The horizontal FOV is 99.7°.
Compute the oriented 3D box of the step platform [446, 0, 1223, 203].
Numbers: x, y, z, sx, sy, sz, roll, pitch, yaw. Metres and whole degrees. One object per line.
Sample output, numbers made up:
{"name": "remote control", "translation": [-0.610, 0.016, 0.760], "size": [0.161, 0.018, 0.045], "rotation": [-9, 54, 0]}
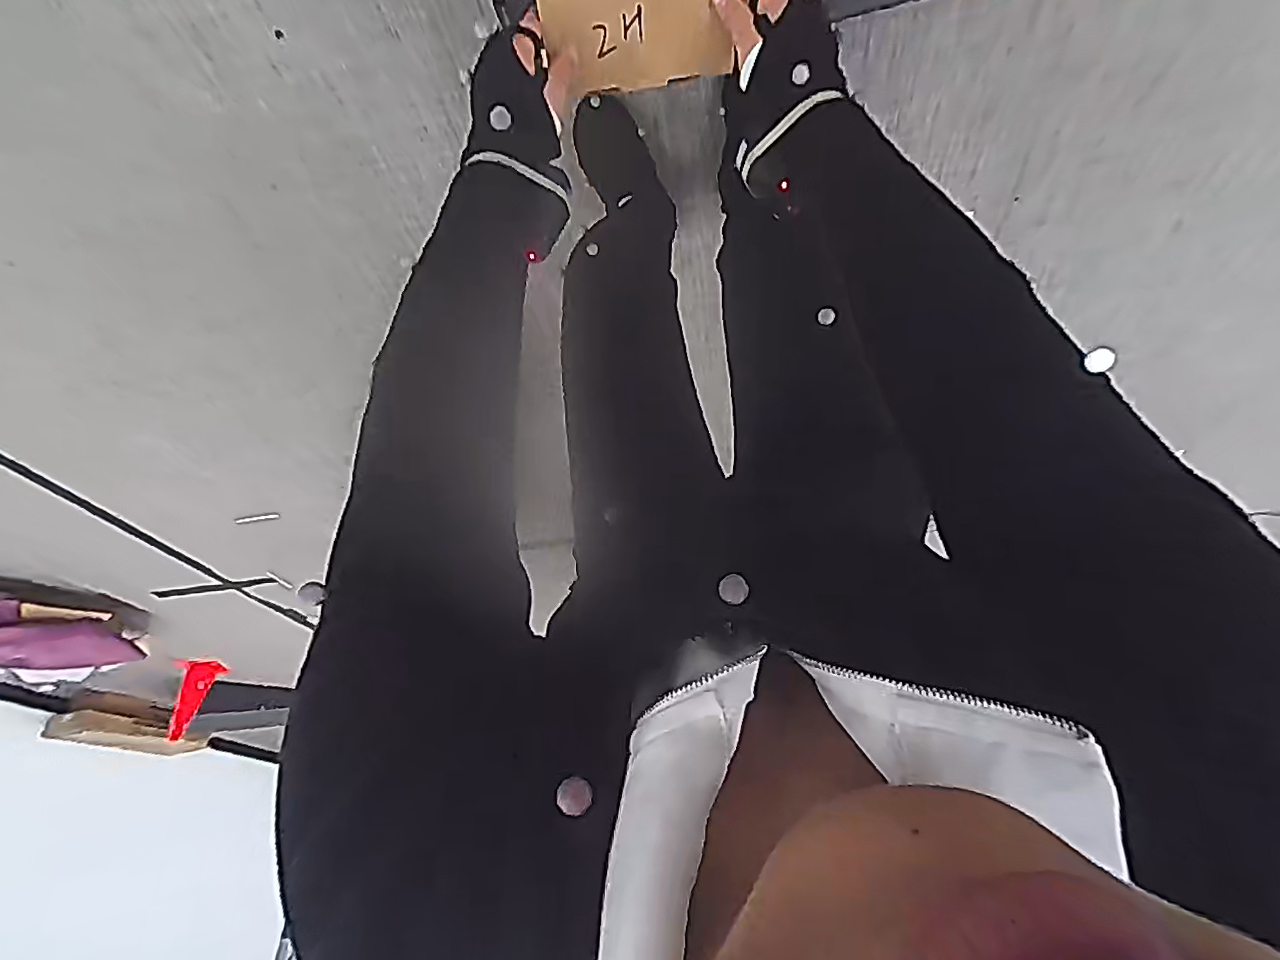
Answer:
{"name": "step platform", "translation": [0.172, -0.505, 0.499], "size": [0.684, 0.204, 0.286], "rotation": [-10, 142, 8]}

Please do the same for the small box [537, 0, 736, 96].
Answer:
{"name": "small box", "translation": [-0.010, -0.466, 0.482], "size": [0.168, 0.176, 0.179], "rotation": [-6, 132, 3]}
